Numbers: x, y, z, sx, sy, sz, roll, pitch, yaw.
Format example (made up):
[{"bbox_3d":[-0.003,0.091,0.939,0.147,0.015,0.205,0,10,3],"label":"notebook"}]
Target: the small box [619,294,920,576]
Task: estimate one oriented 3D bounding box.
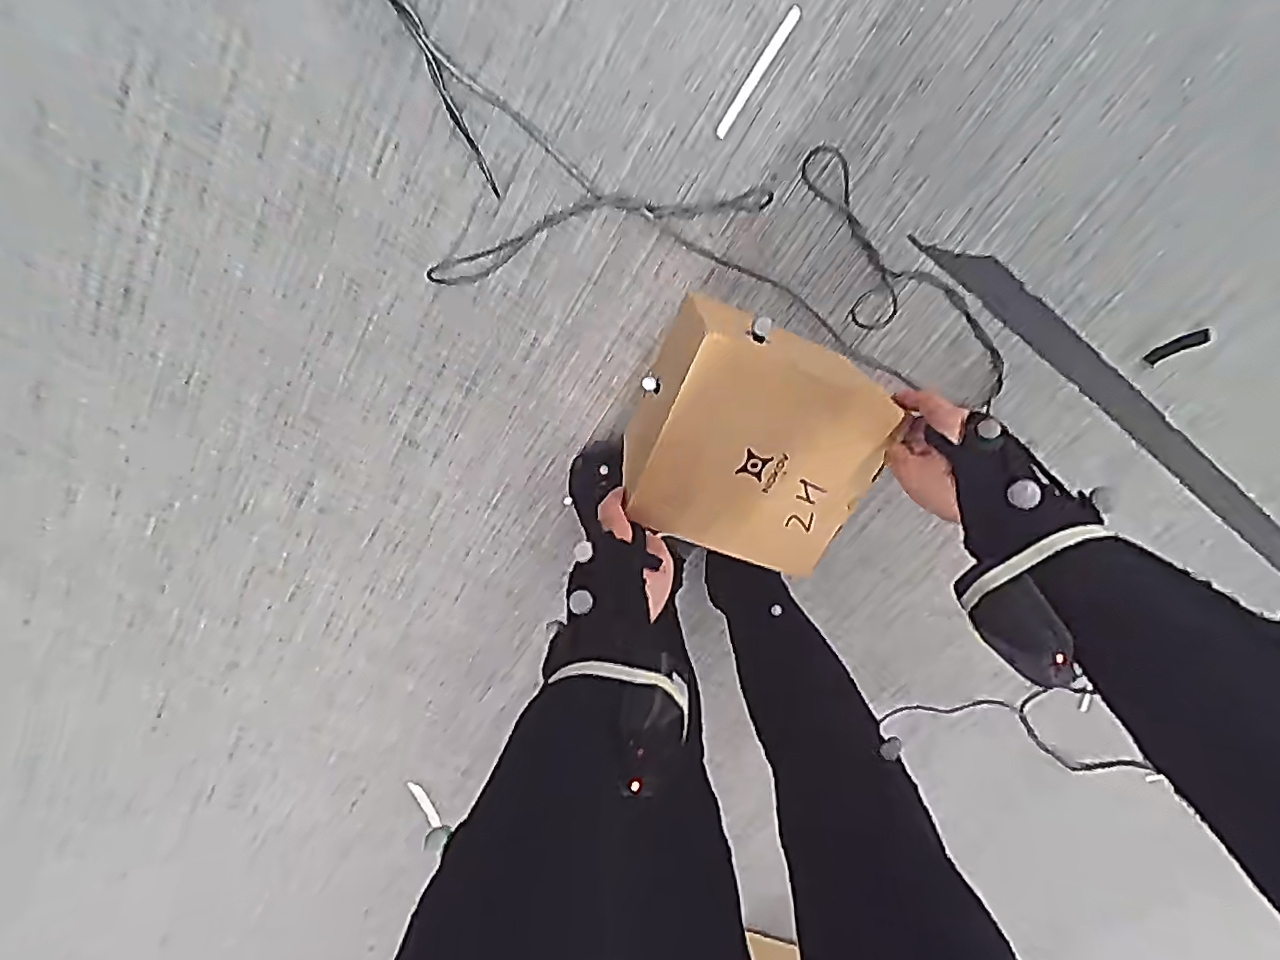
[{"bbox_3d":[0.092,-0.050,0.477,0.179,0.176,0.168,20,117,-11],"label":"small box"}]
